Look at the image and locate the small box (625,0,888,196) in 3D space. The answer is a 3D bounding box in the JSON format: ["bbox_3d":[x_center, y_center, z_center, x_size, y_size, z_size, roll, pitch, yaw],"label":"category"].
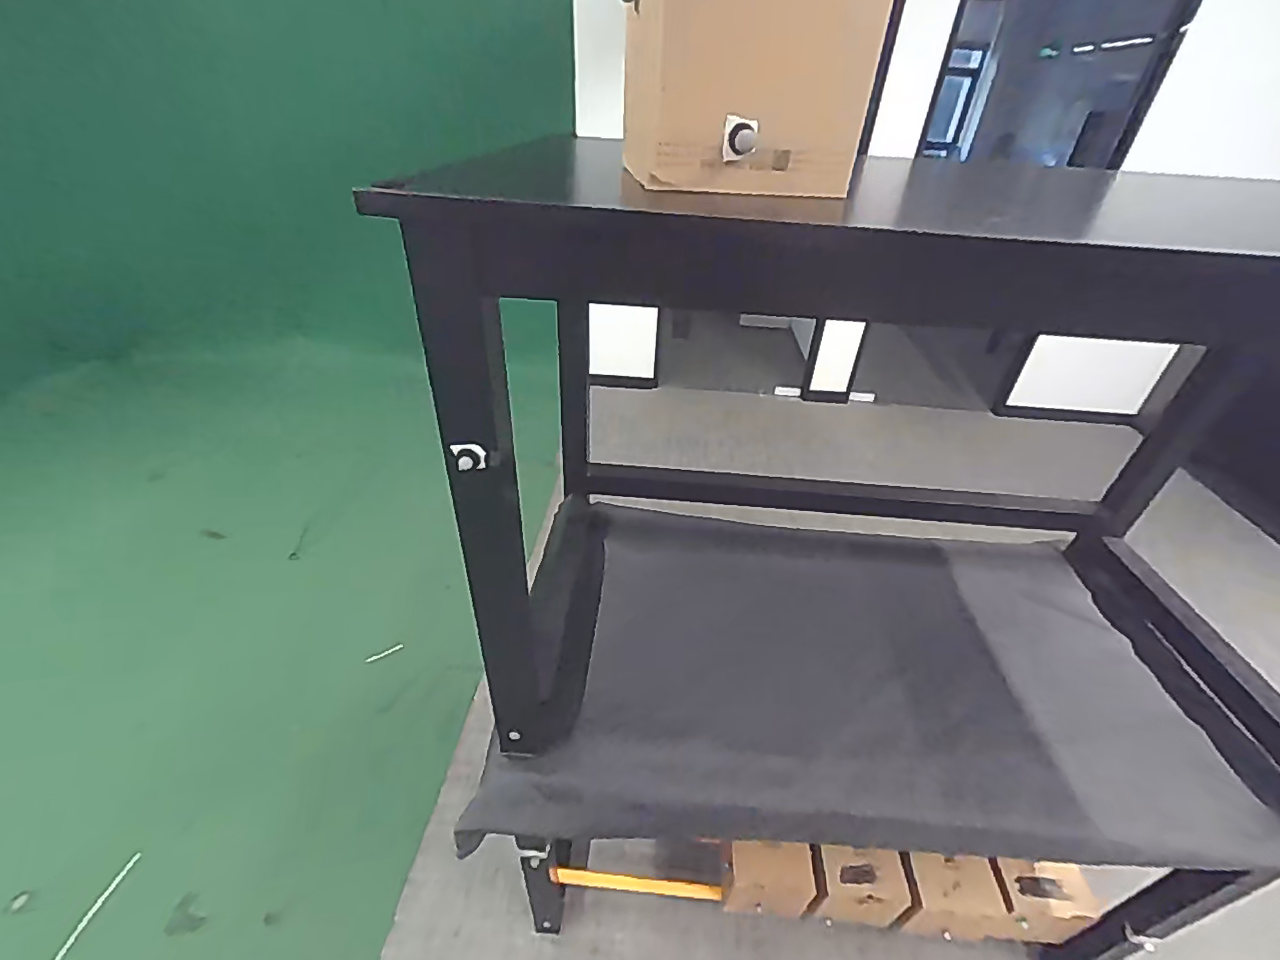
[{"bbox_3d":[0.078,-0.347,0.450,0.168,0.176,0.179,-3,37,-7],"label":"small box"}]
